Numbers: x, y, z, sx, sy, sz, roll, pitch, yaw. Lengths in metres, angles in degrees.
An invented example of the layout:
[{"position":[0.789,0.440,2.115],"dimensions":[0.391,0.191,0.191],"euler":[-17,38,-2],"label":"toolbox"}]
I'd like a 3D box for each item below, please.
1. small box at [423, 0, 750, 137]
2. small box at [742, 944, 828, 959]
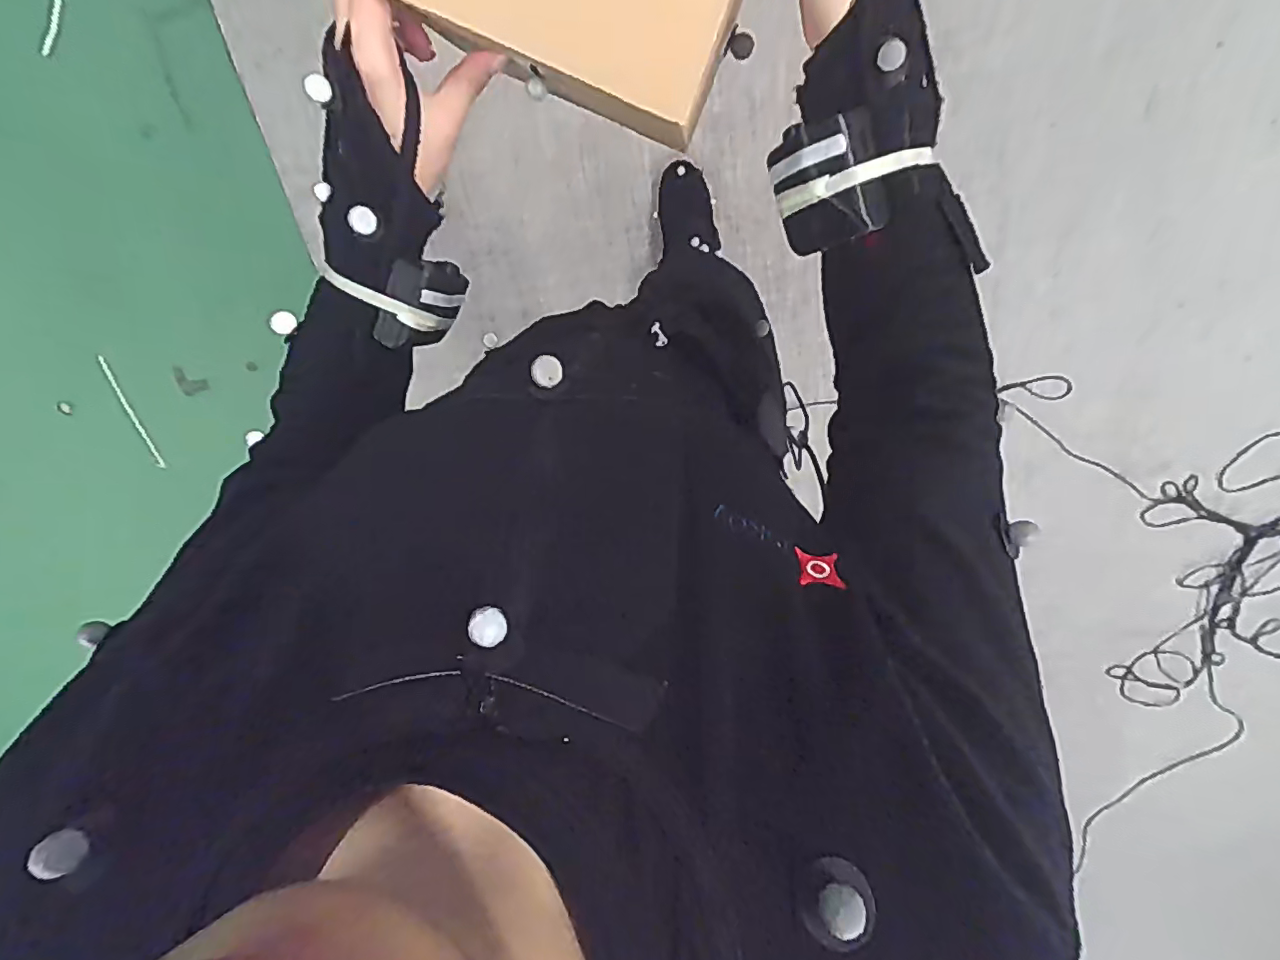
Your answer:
[{"position":[-0.016,-0.322,0.311],"dimensions":[0.179,0.176,0.168],"euler":[20,118,-6],"label":"small box"},{"position":[0.299,1.023,1.022],"dimensions":[0.168,0.176,0.179],"euler":[-16,114,10],"label":"small box"}]
